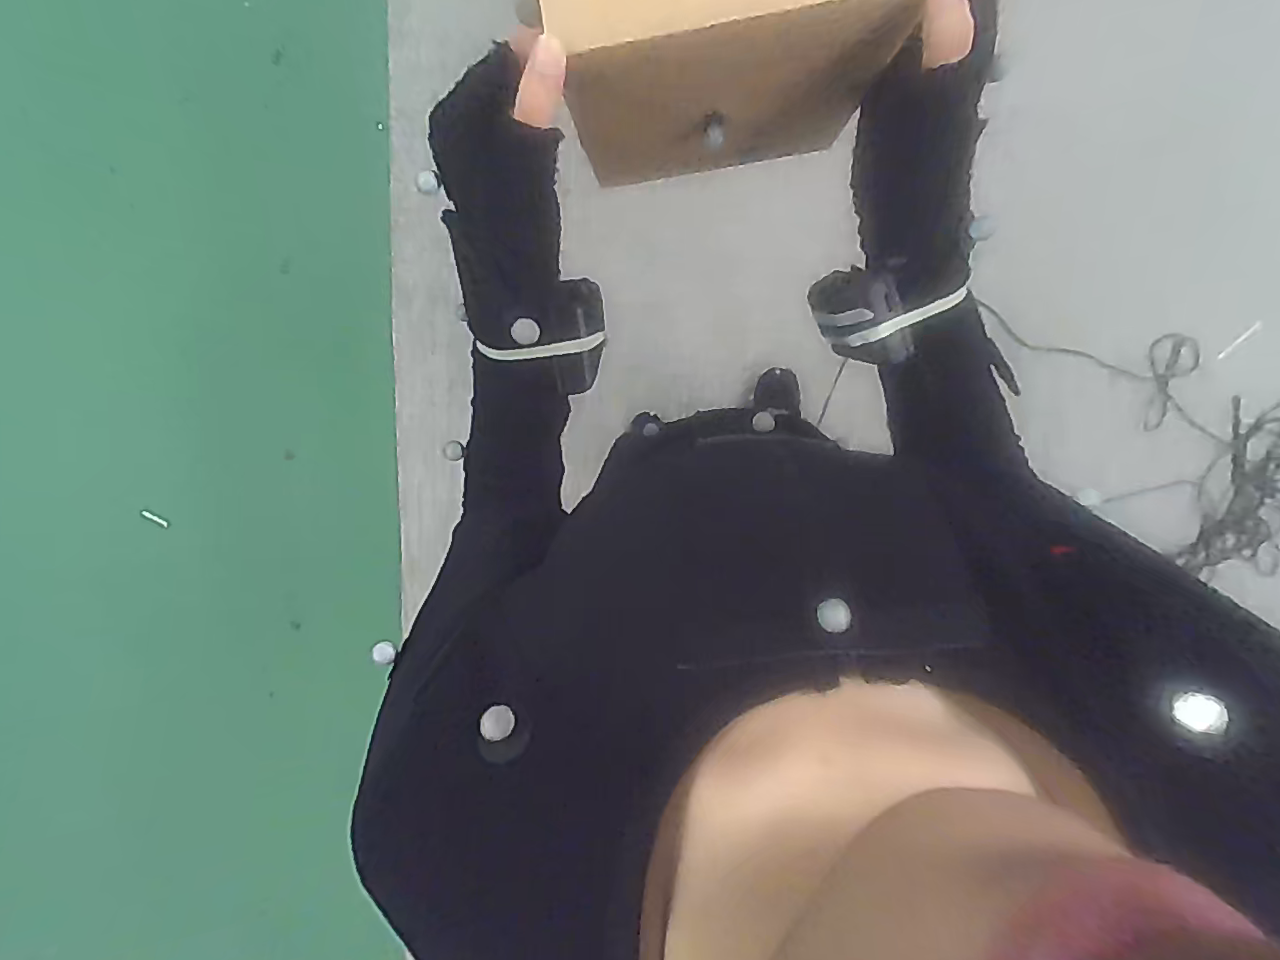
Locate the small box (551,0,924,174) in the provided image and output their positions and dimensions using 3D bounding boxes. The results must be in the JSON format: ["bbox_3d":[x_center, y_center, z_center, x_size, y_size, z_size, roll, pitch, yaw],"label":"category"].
[{"bbox_3d":[0.039,-0.293,0.298,0.168,0.176,0.179,-8,100,4],"label":"small box"}]
